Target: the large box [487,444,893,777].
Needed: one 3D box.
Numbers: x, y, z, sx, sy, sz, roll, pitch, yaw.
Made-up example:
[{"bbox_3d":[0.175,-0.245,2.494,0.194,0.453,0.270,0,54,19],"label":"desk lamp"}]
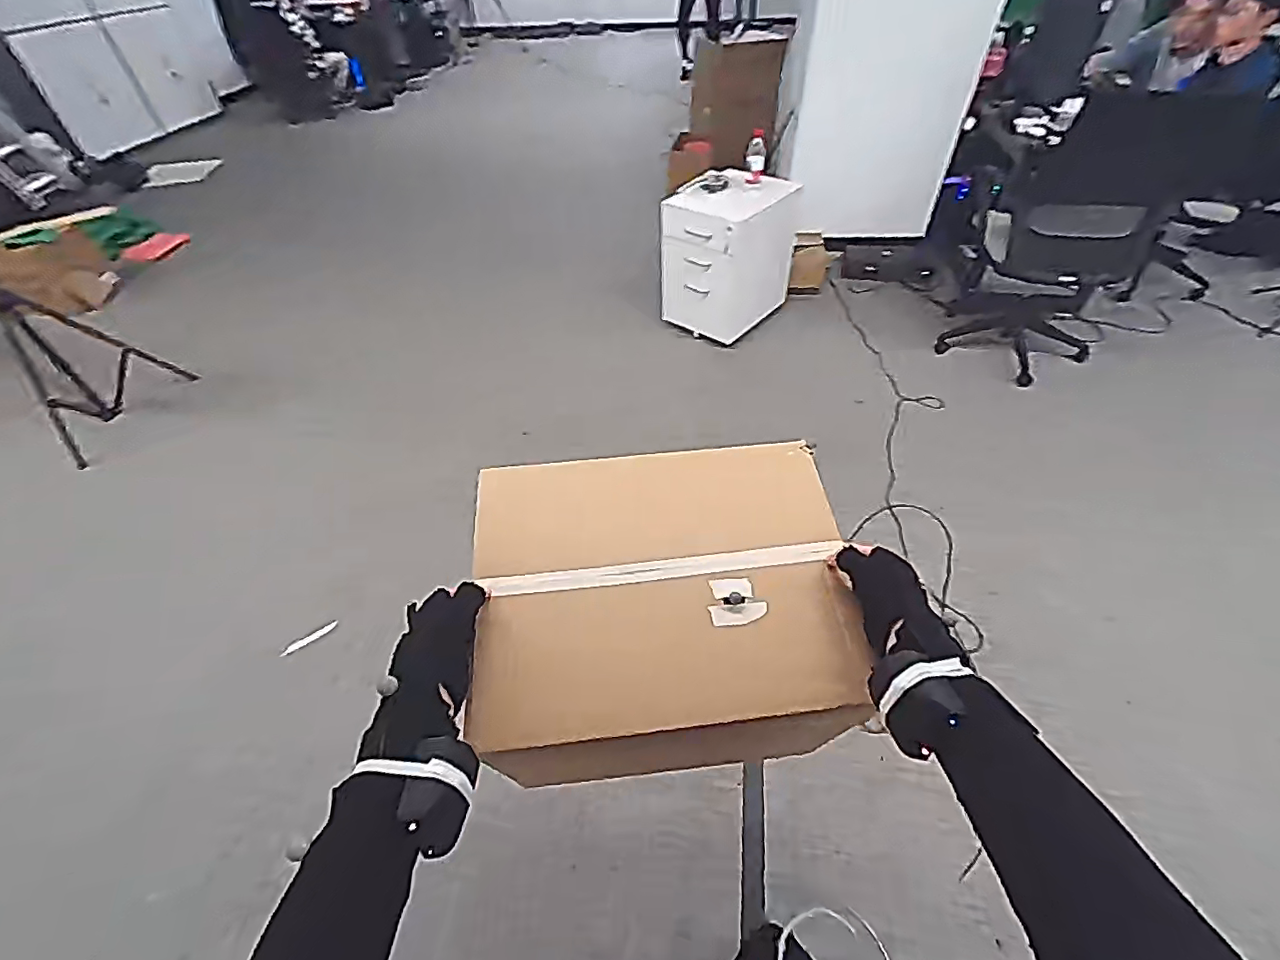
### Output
[{"bbox_3d":[0.034,0.181,0.719,0.408,0.320,0.320,-5,56,-4],"label":"large box"}]
